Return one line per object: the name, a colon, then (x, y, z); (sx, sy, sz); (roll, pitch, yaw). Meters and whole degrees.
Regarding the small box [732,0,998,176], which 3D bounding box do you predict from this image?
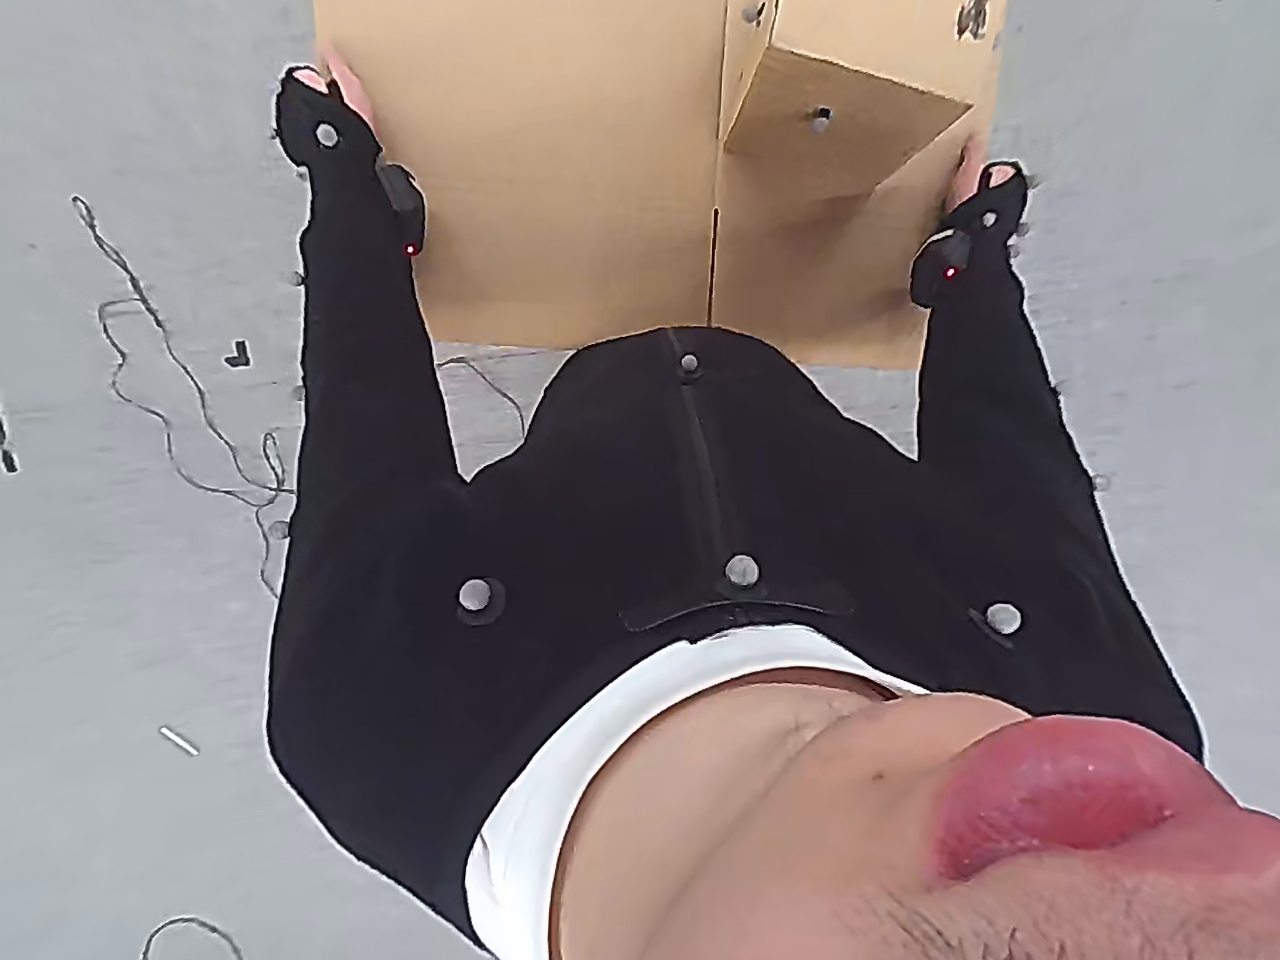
small box: (0.196, -0.411, 0.498); (0.179, 0.176, 0.168); (12, 98, -3)
